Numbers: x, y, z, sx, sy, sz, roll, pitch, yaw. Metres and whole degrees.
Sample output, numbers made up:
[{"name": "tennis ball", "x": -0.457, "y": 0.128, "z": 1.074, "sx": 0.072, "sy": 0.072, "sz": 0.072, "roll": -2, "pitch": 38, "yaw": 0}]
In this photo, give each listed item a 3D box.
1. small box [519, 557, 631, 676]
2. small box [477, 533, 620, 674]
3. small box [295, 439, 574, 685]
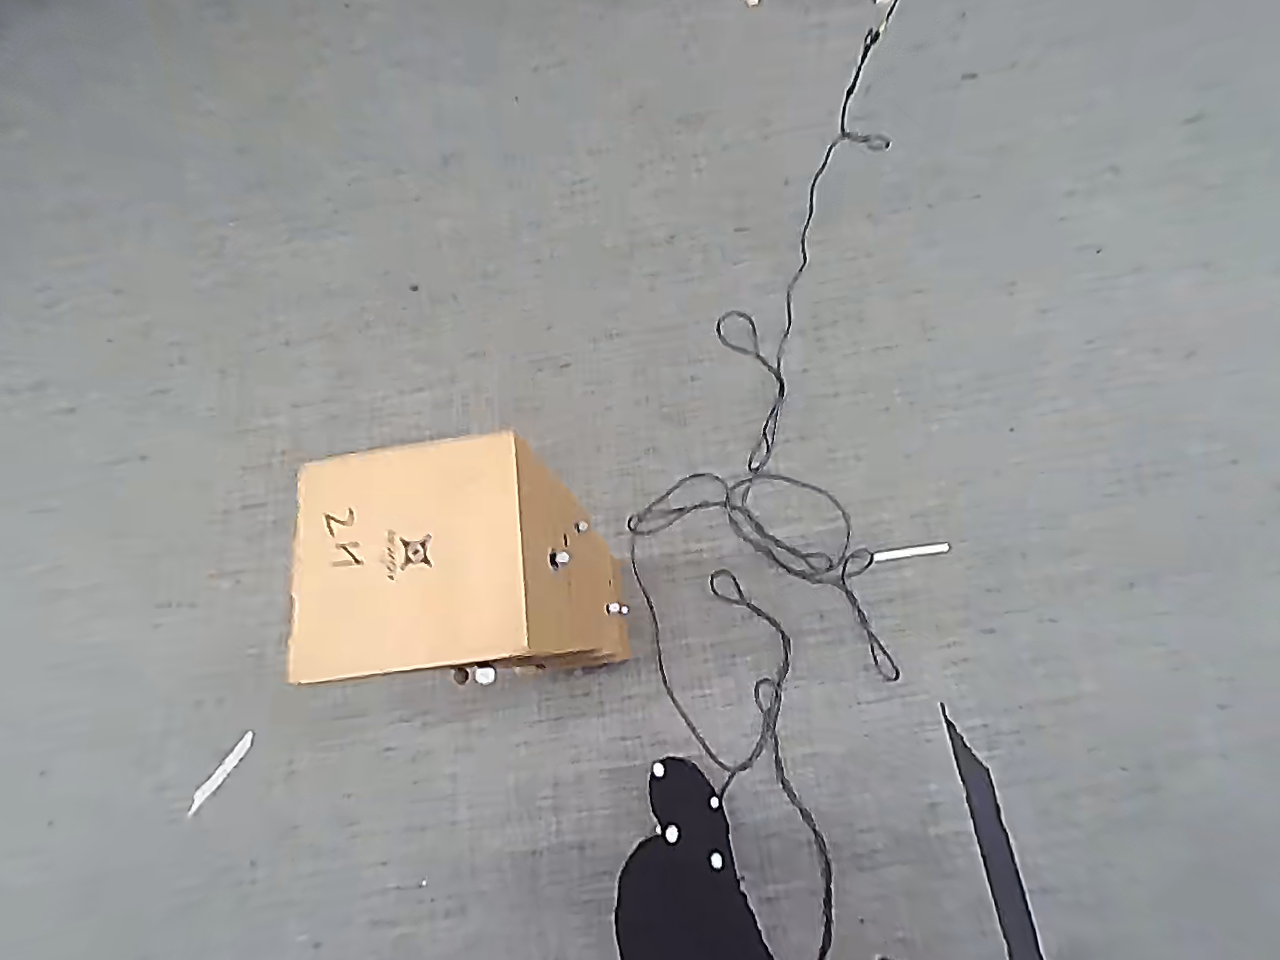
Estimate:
[{"name": "small box", "x": -0.112, "y": 0.235, "z": 0.940, "sx": 0.168, "sy": 0.176, "sz": 0.179, "roll": -9, "pitch": 74, "yaw": 3}, {"name": "small box", "x": -0.127, "y": 0.181, "z": 0.787, "sx": 0.179, "sy": 0.176, "sz": 0.168, "roll": -9, "pitch": 73, "yaw": 4}, {"name": "small box", "x": -0.159, "y": 0.078, "z": 0.475, "sx": 0.179, "sy": 0.176, "sz": 0.168, "roll": -9, "pitch": 72, "yaw": 4}]
